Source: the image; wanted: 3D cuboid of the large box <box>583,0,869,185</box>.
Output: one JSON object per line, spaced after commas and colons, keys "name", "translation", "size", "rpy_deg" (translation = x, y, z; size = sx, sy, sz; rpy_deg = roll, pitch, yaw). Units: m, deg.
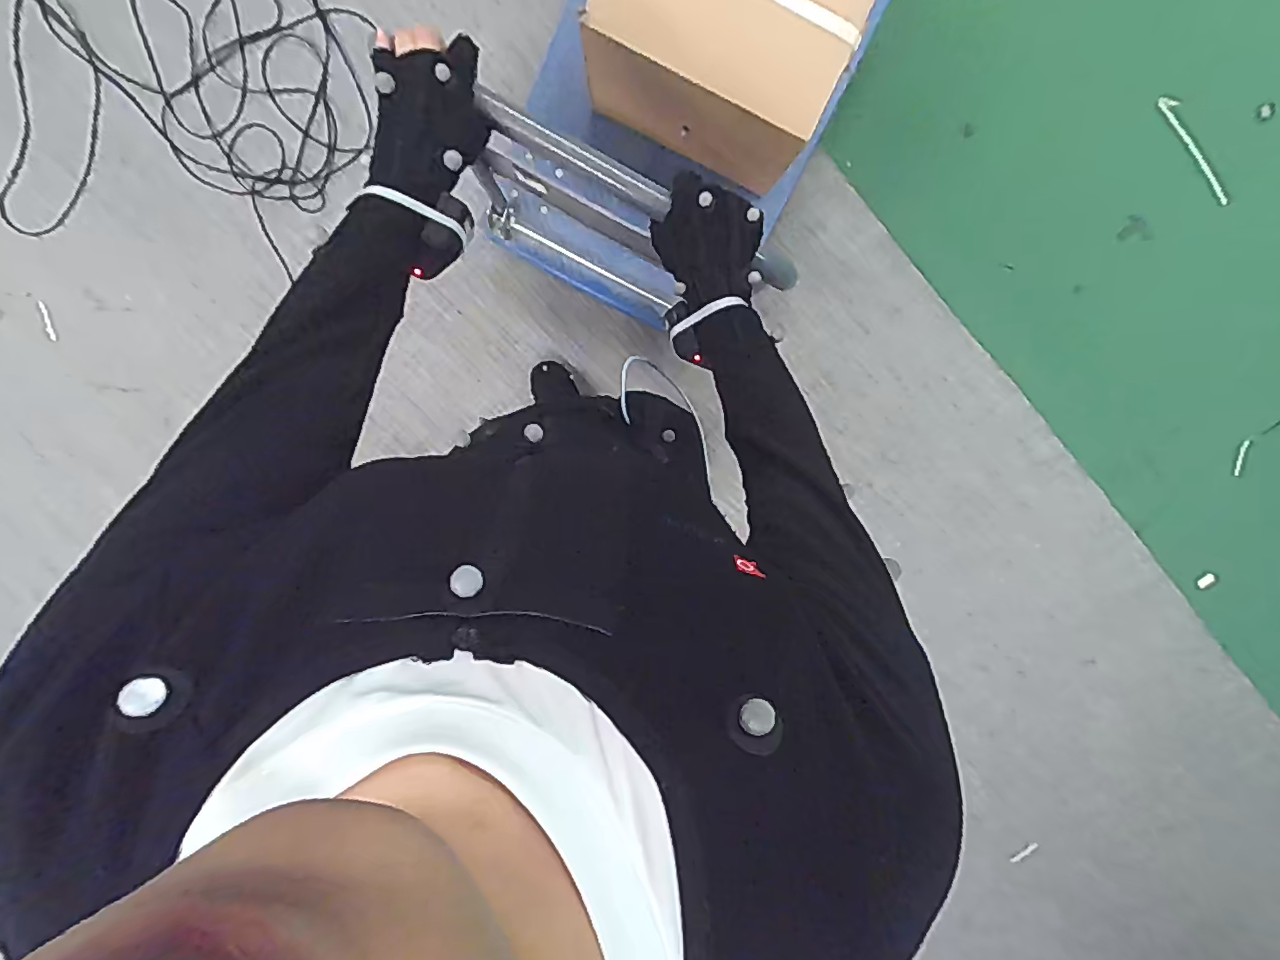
{"name": "large box", "translation": [0.152, -0.806, 0.975], "size": [0.408, 0.320, 0.320], "rpy_deg": [24, 101, -6]}
